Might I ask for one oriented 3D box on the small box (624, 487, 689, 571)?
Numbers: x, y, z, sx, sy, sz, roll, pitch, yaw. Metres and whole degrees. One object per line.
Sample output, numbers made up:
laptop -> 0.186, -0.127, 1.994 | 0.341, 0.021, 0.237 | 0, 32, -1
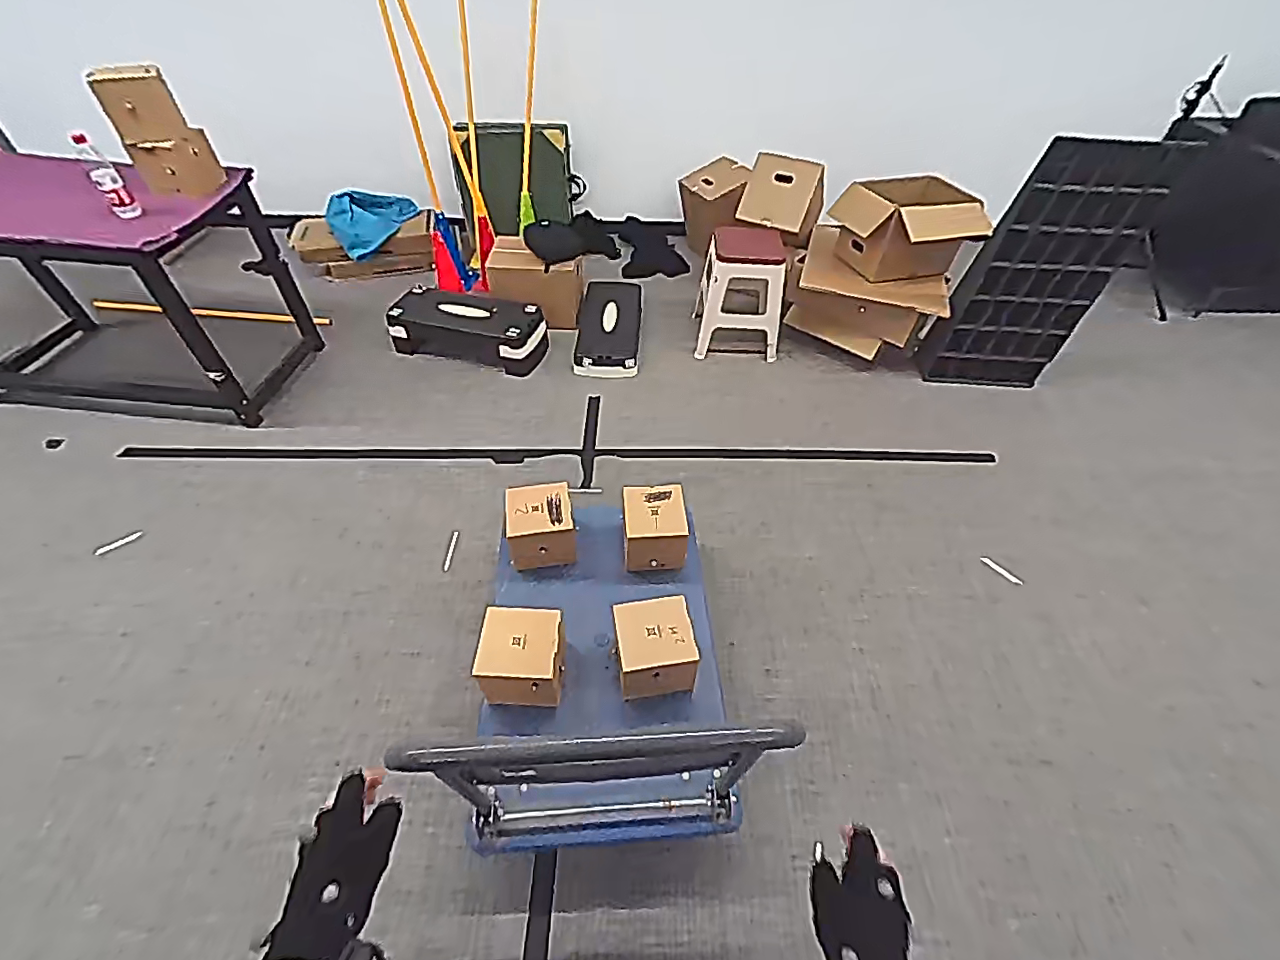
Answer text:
small box -> 0.041, 0.139, 1.532 | 0.168, 0.176, 0.179 | -2, 50, -4

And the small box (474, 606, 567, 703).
small box -> -0.274, 0.415, 1.276 | 0.179, 0.176, 0.168 | 3, 48, -1

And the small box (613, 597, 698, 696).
small box -> 0.032, 0.403, 1.297 | 0.179, 0.176, 0.168 | -6, 49, -7
